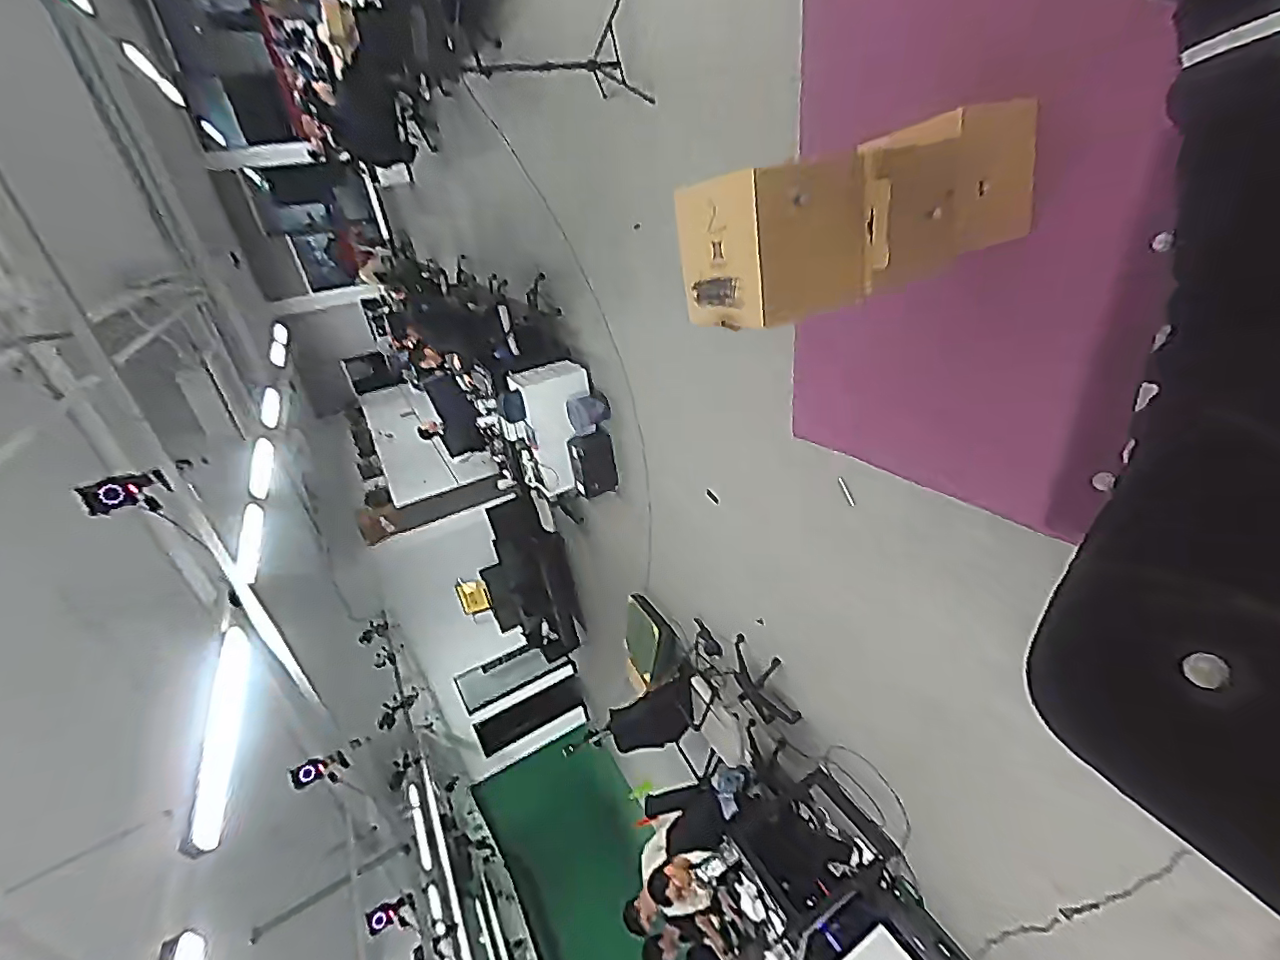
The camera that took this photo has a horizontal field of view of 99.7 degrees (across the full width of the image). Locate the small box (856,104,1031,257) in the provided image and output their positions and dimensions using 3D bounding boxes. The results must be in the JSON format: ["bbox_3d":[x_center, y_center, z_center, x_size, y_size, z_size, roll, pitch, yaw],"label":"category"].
[{"bbox_3d":[0.453,-0.434,0.813,0.168,0.176,0.179,25,131,59],"label":"small box"}]

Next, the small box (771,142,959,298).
[{"bbox_3d":[0.311,-0.363,0.766,0.179,0.176,0.168,32,139,55],"label":"small box"}]
